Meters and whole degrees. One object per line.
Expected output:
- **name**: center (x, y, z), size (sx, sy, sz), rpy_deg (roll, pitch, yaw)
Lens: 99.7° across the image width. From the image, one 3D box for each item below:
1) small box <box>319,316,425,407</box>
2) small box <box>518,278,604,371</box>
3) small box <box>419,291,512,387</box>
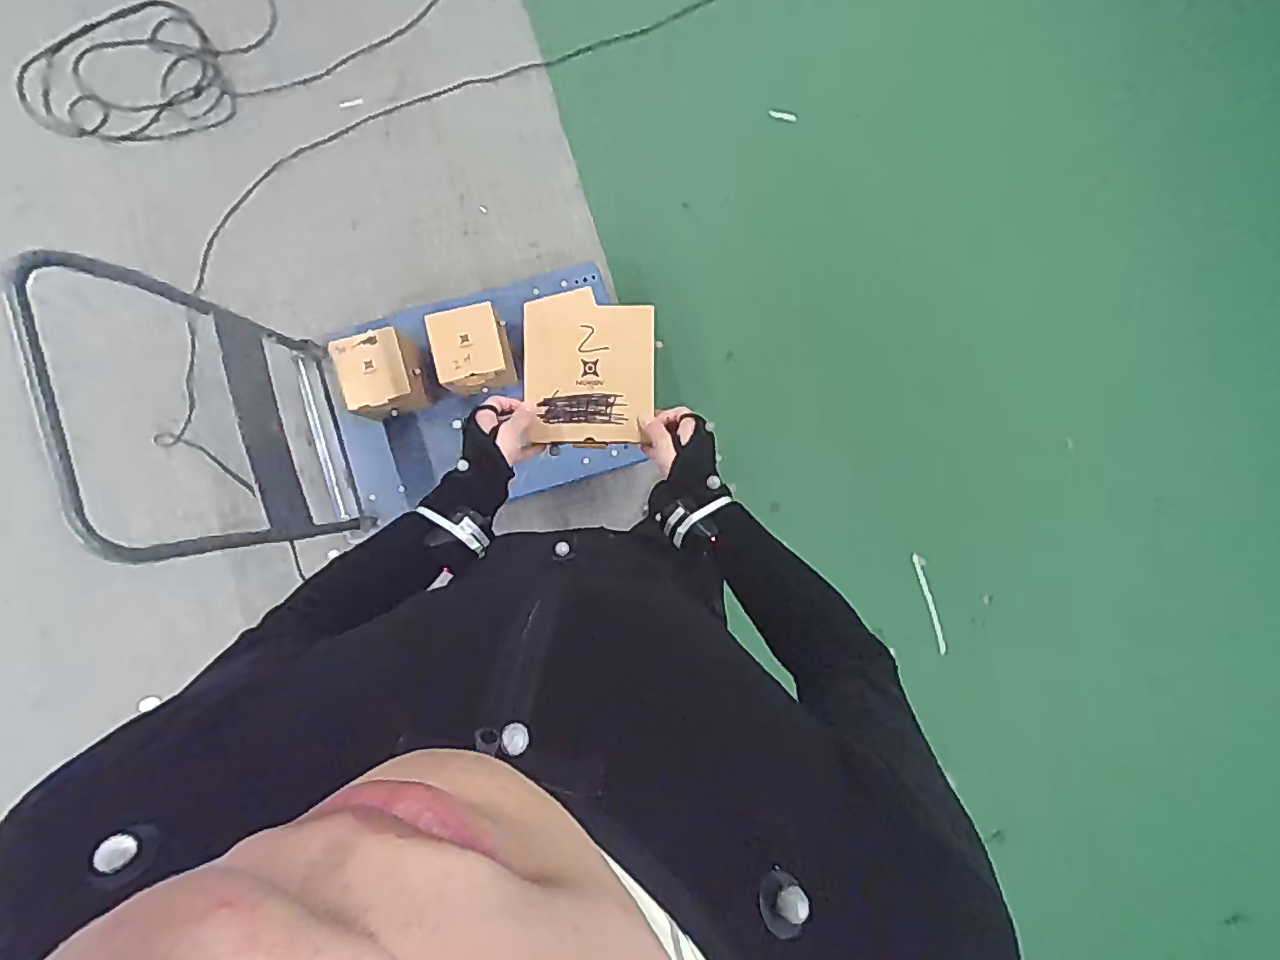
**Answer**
- **small box**: center (-0.663, -0.288, 1.360), size (0.168, 0.176, 0.179), rpy_deg (-15, 90, -4)
- **small box**: center (-0.195, -0.392, 1.389), size (0.179, 0.176, 0.168), rpy_deg (-15, 90, -3)
- **small box**: center (-0.437, -0.352, 1.375), size (0.168, 0.176, 0.179), rpy_deg (-13, 89, -3)
